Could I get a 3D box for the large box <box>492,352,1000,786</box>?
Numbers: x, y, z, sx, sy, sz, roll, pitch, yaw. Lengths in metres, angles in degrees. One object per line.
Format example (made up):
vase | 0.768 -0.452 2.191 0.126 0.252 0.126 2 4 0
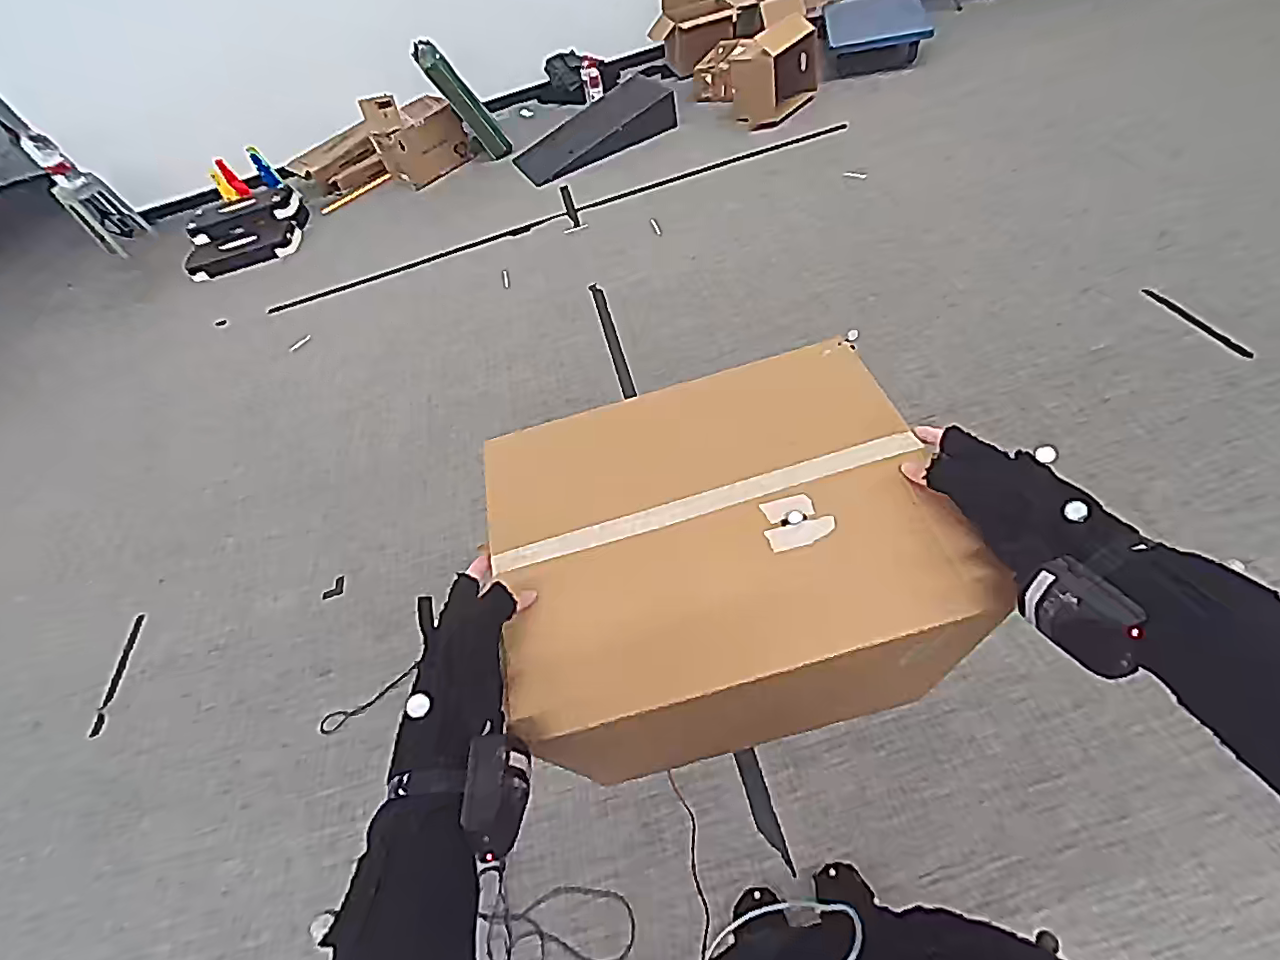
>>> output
large box | 0.084 0.116 0.628 0.408 0.320 0.320 -16 55 -1
